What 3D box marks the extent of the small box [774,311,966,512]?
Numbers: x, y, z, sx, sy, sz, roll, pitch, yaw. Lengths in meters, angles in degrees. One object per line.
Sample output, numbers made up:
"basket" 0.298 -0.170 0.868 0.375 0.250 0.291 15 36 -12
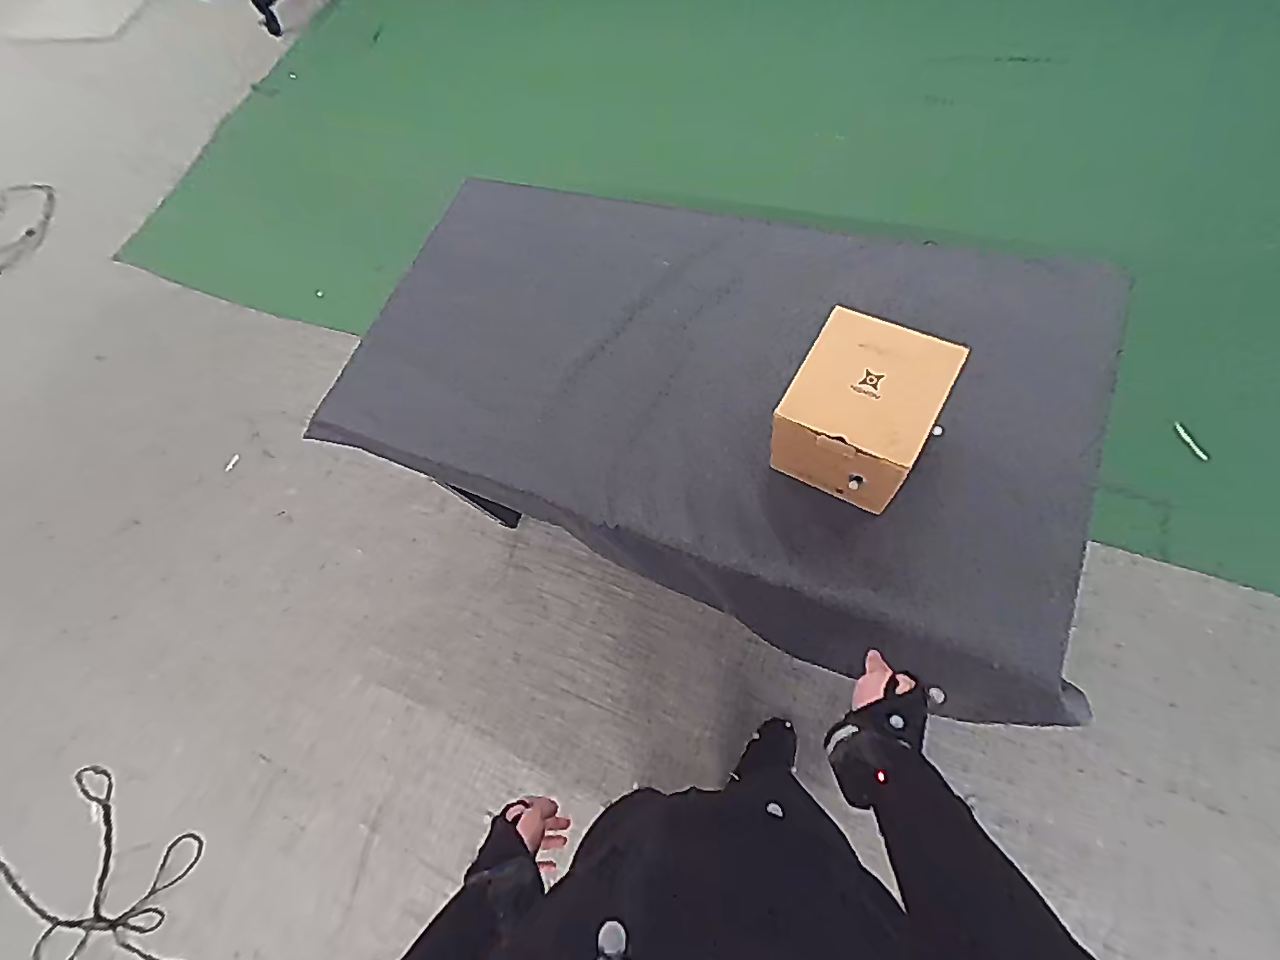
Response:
"small box" 0.289 -0.082 0.718 0.168 0.176 0.179 27 75 19
